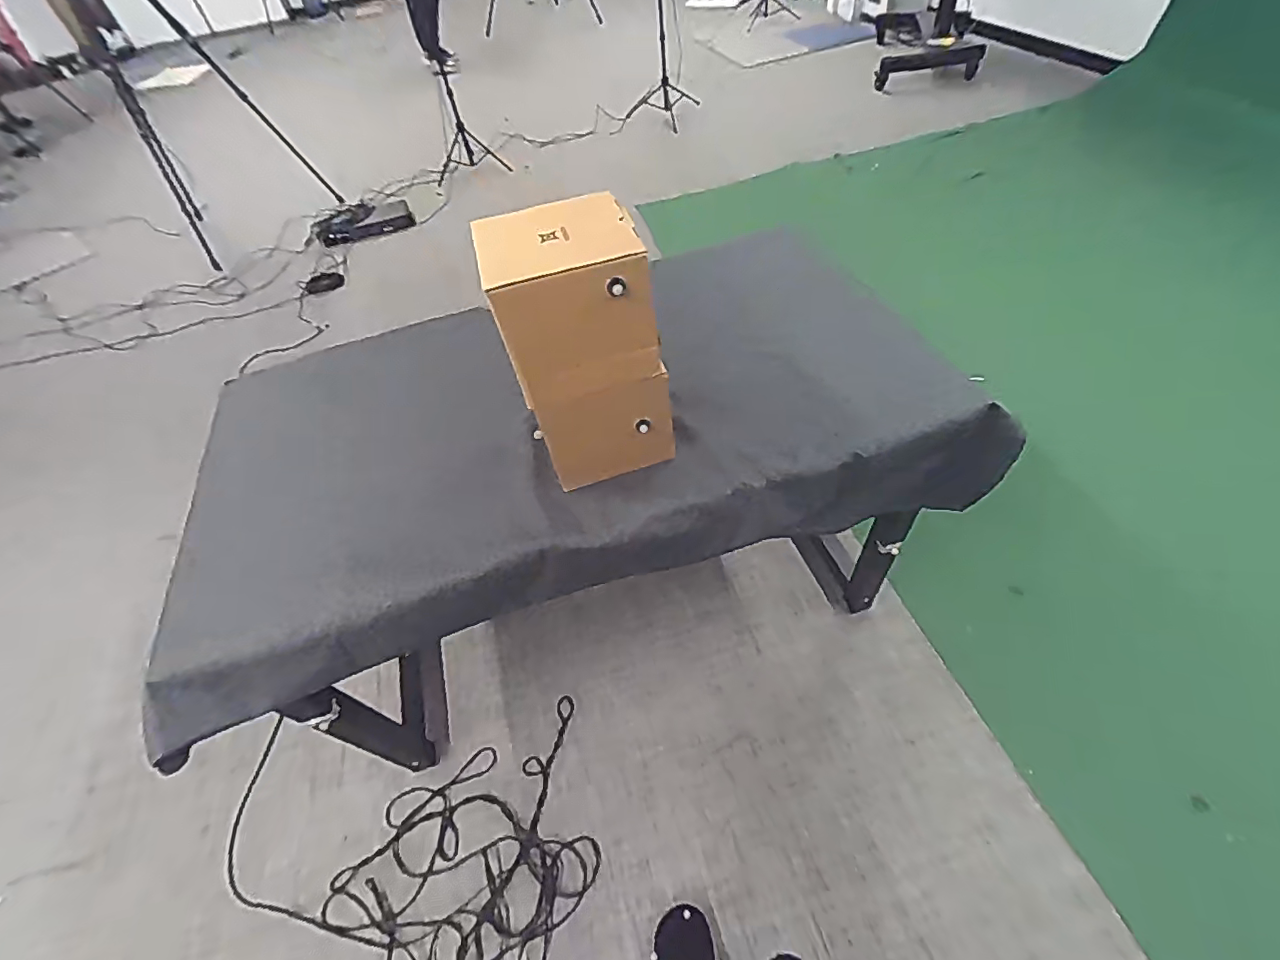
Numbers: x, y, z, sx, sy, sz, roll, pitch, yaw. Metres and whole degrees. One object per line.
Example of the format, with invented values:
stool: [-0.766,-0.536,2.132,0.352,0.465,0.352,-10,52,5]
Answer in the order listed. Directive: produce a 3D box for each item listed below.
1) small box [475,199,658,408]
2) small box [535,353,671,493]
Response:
small box: [-0.086,-0.212,0.665,0.179,0.176,0.168,-16,50,-6]
small box: [-0.059,-0.109,0.788,0.179,0.176,0.168,-19,50,-6]
